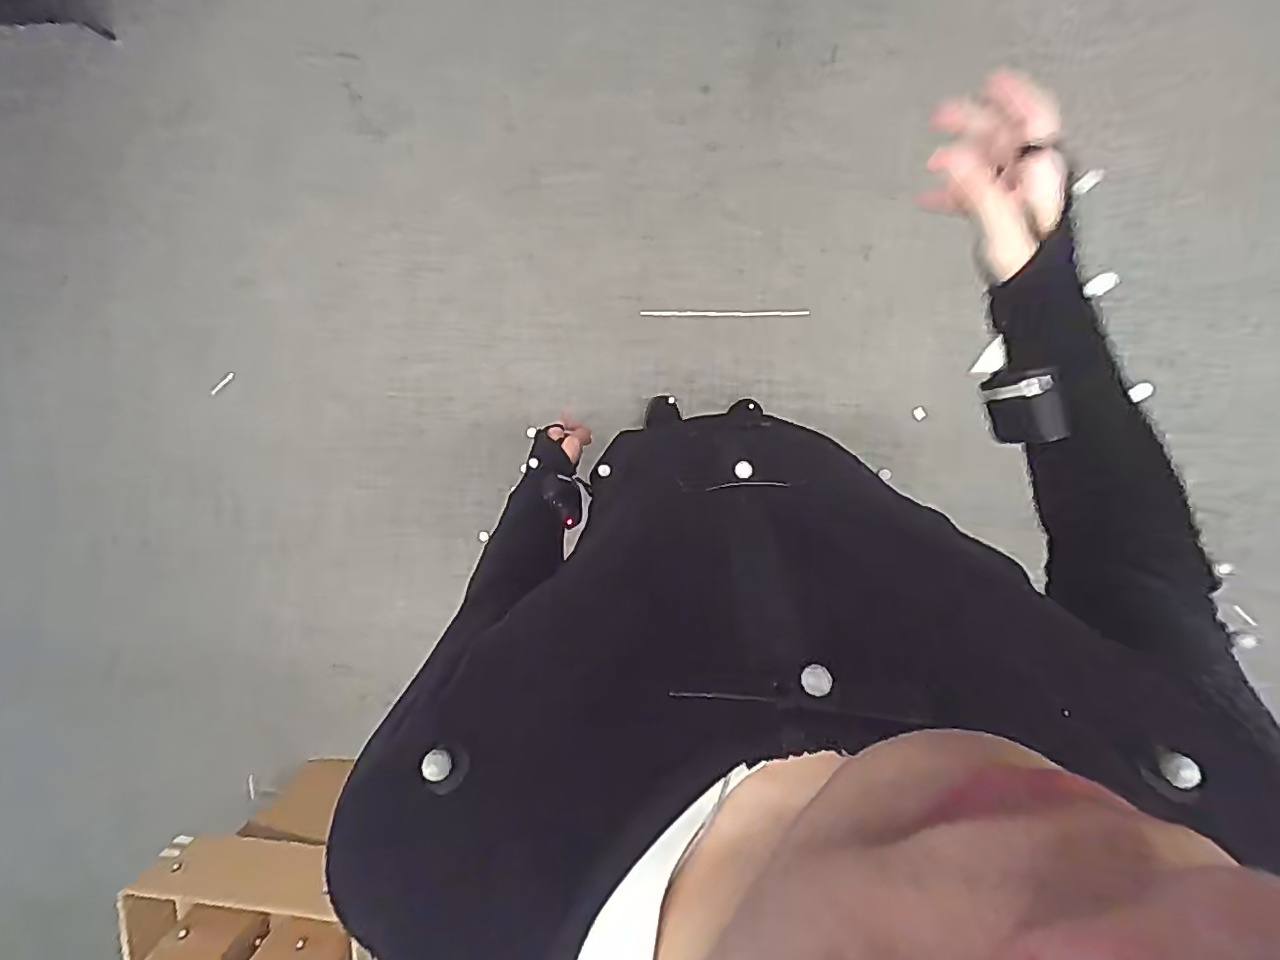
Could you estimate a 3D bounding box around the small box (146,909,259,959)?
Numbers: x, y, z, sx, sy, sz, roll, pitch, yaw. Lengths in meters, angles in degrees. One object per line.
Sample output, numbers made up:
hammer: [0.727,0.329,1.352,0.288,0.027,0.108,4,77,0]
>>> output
small box: [-1.113,1.240,1.373,0.179,0.176,0.168,4,99,2]
